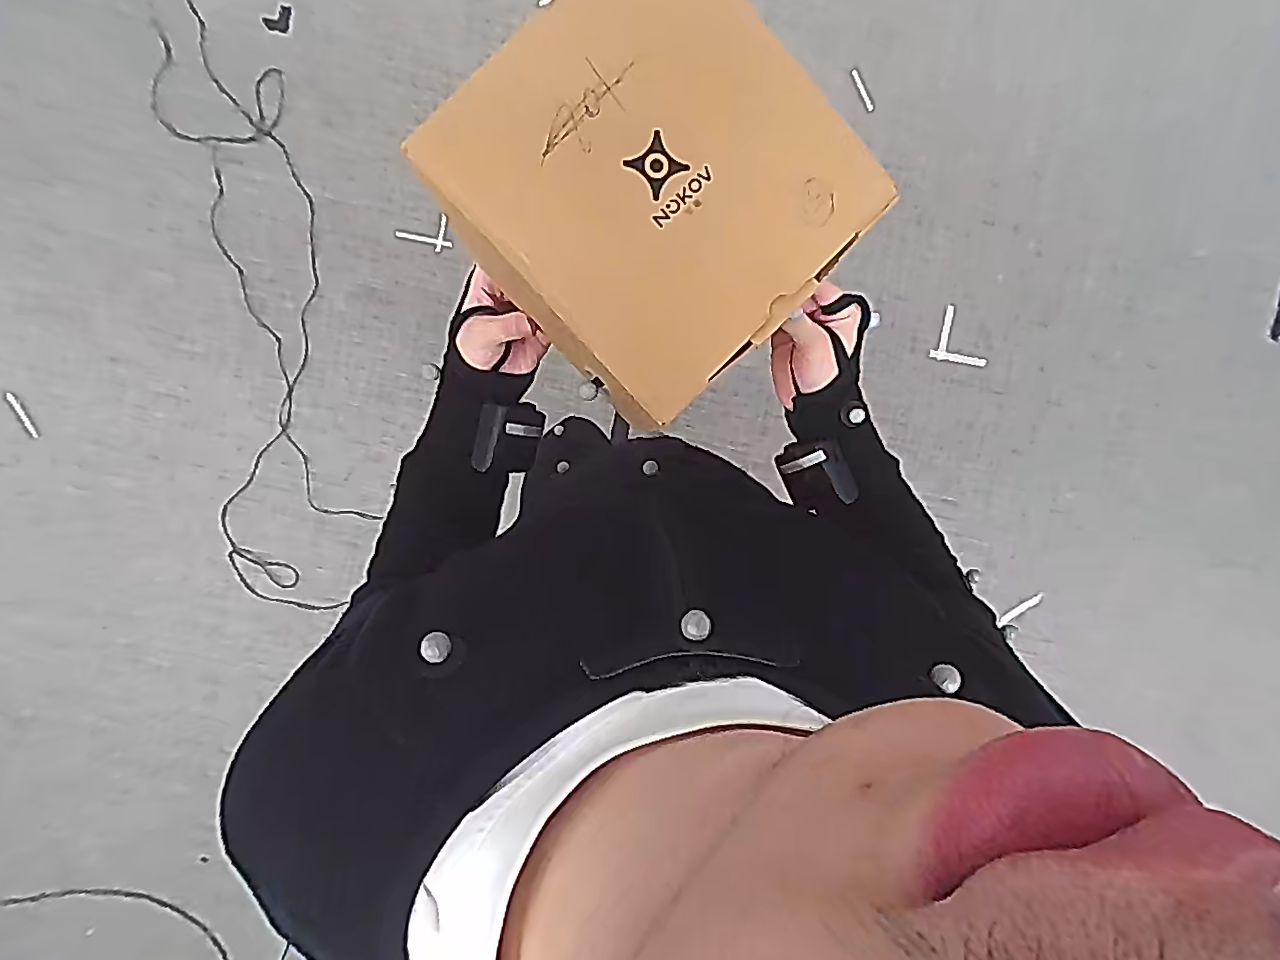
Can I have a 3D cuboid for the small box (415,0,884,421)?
[{"bbox_3d":[0.003,-0.154,0.344,0.168,0.176,0.179,-45,96,-1],"label":"small box"}]
